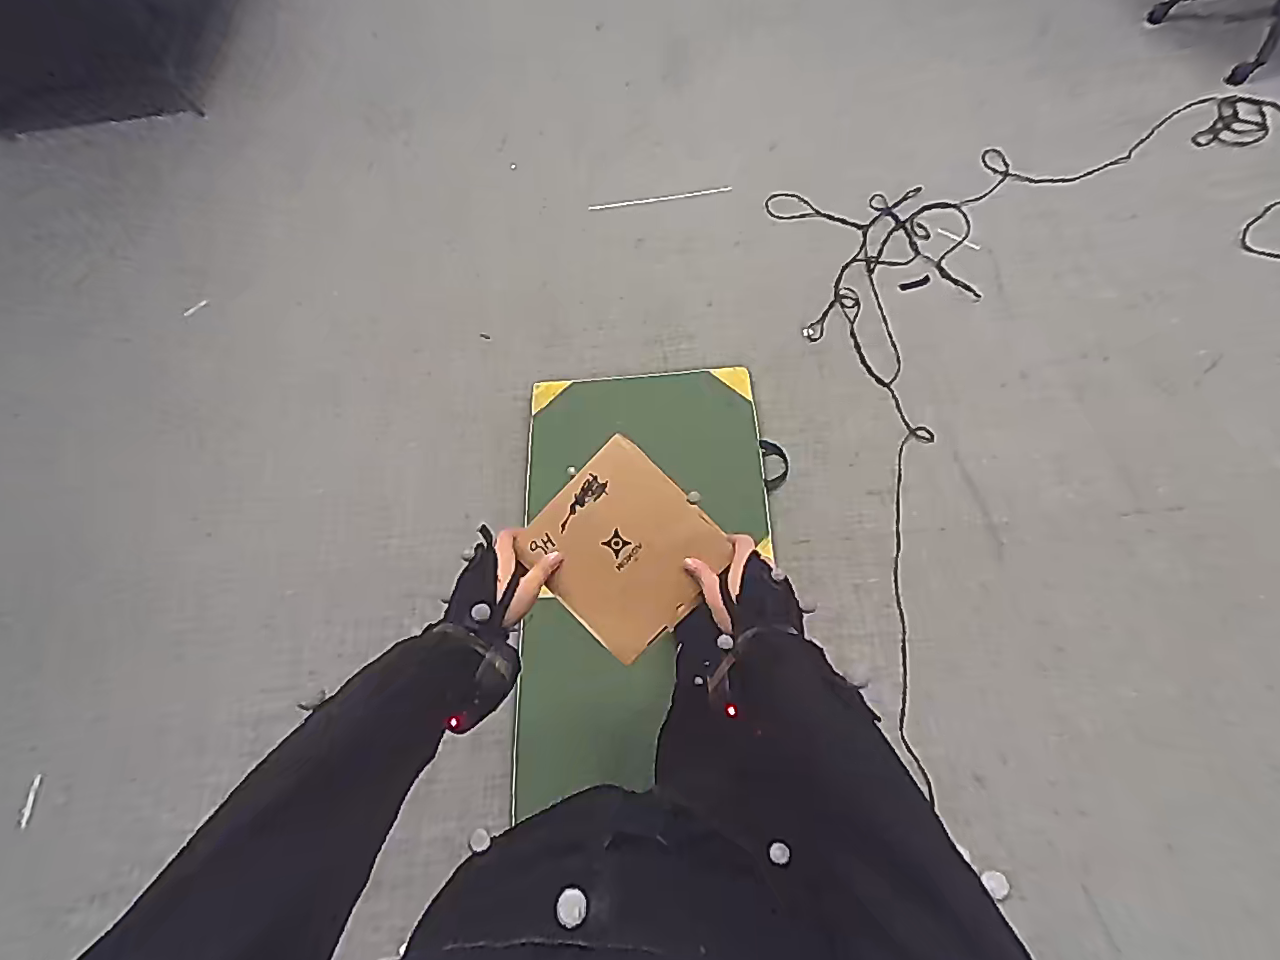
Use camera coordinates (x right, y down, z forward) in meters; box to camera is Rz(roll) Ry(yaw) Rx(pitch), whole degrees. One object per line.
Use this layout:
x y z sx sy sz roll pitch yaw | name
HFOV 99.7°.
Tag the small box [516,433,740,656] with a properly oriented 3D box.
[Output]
-0.006 0.066 0.634 0.179 0.176 0.168 44 93 5 | small box
